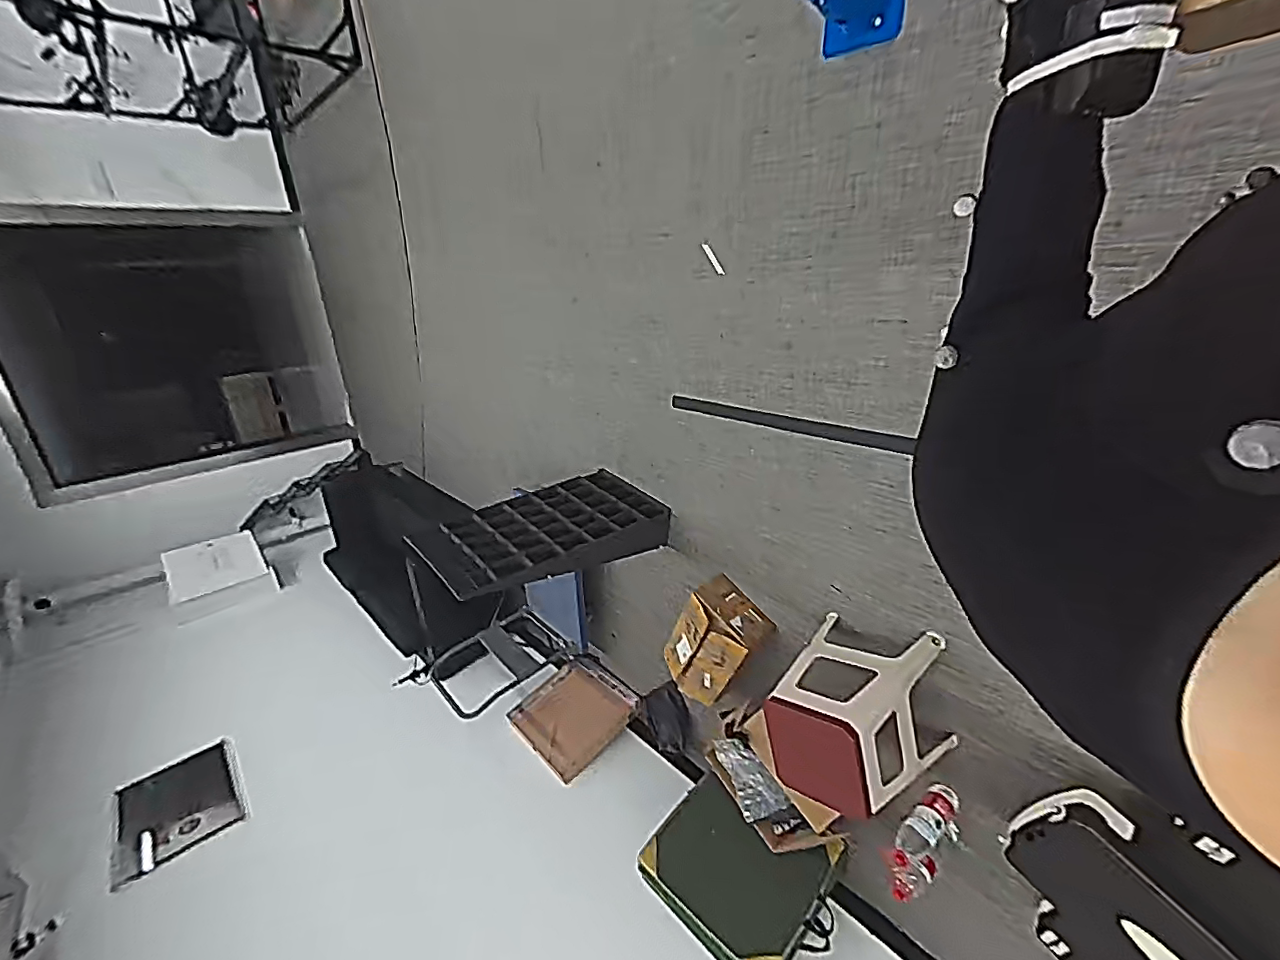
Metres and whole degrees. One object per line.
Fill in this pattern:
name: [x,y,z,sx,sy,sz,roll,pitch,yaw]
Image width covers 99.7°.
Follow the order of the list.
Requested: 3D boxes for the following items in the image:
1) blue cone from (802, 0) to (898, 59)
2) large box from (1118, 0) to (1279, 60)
blue cone: [0.409,-1.104,1.203,0.192,0.380,0.193,25,124,44]
large box: [0.528,-0.459,0.247,0.408,0.320,0.320,15,125,46]
